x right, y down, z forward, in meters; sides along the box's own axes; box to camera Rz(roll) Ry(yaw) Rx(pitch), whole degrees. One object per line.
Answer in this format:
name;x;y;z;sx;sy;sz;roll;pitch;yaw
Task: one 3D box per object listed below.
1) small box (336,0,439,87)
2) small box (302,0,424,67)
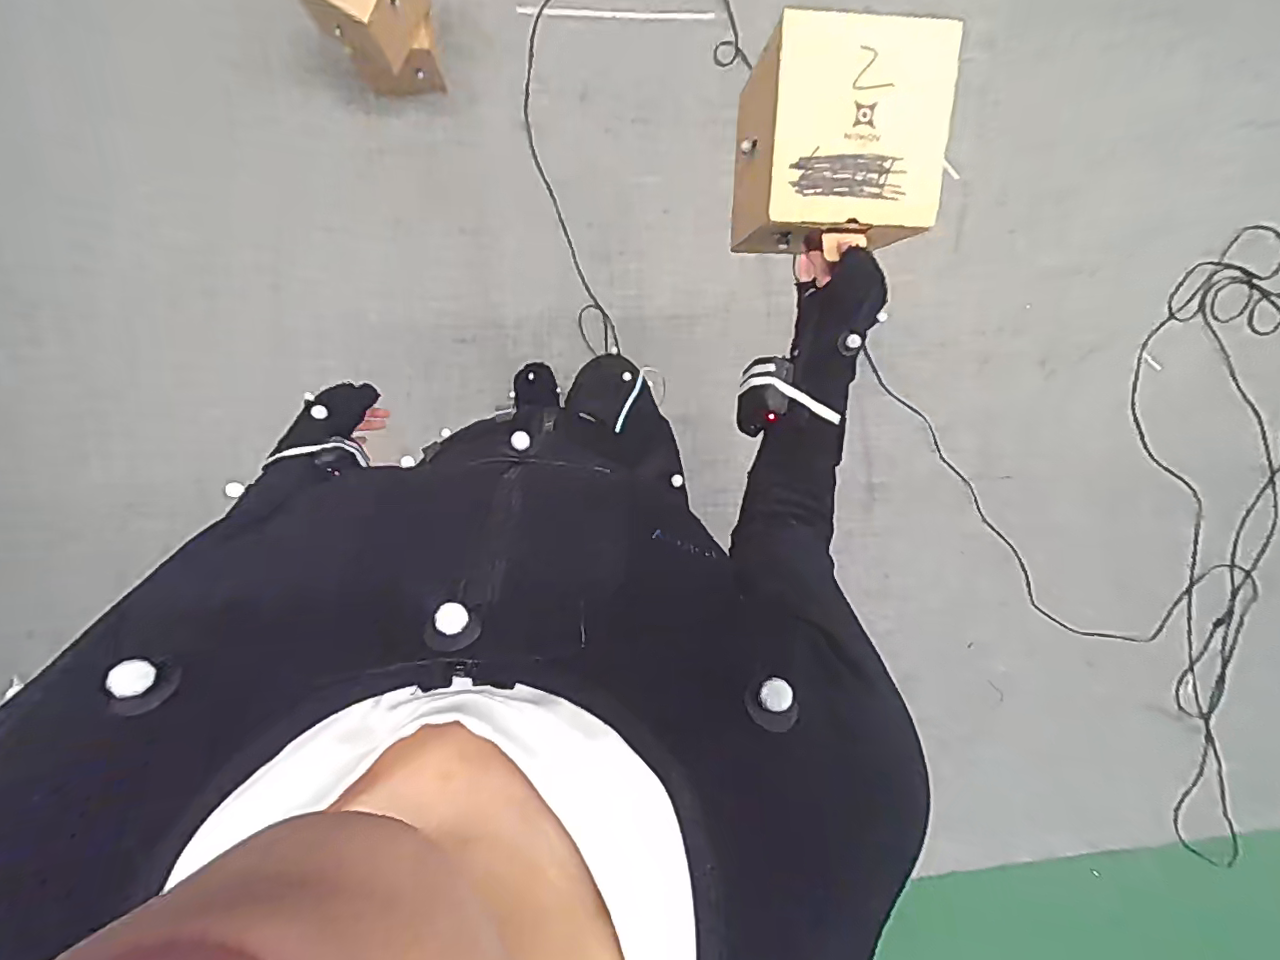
small box;-0.545;-0.986;1.167;0.179;0.176;0.168;-8;100;-5
small box;-0.535;-0.946;1.024;0.168;0.176;0.179;27;95;-10
